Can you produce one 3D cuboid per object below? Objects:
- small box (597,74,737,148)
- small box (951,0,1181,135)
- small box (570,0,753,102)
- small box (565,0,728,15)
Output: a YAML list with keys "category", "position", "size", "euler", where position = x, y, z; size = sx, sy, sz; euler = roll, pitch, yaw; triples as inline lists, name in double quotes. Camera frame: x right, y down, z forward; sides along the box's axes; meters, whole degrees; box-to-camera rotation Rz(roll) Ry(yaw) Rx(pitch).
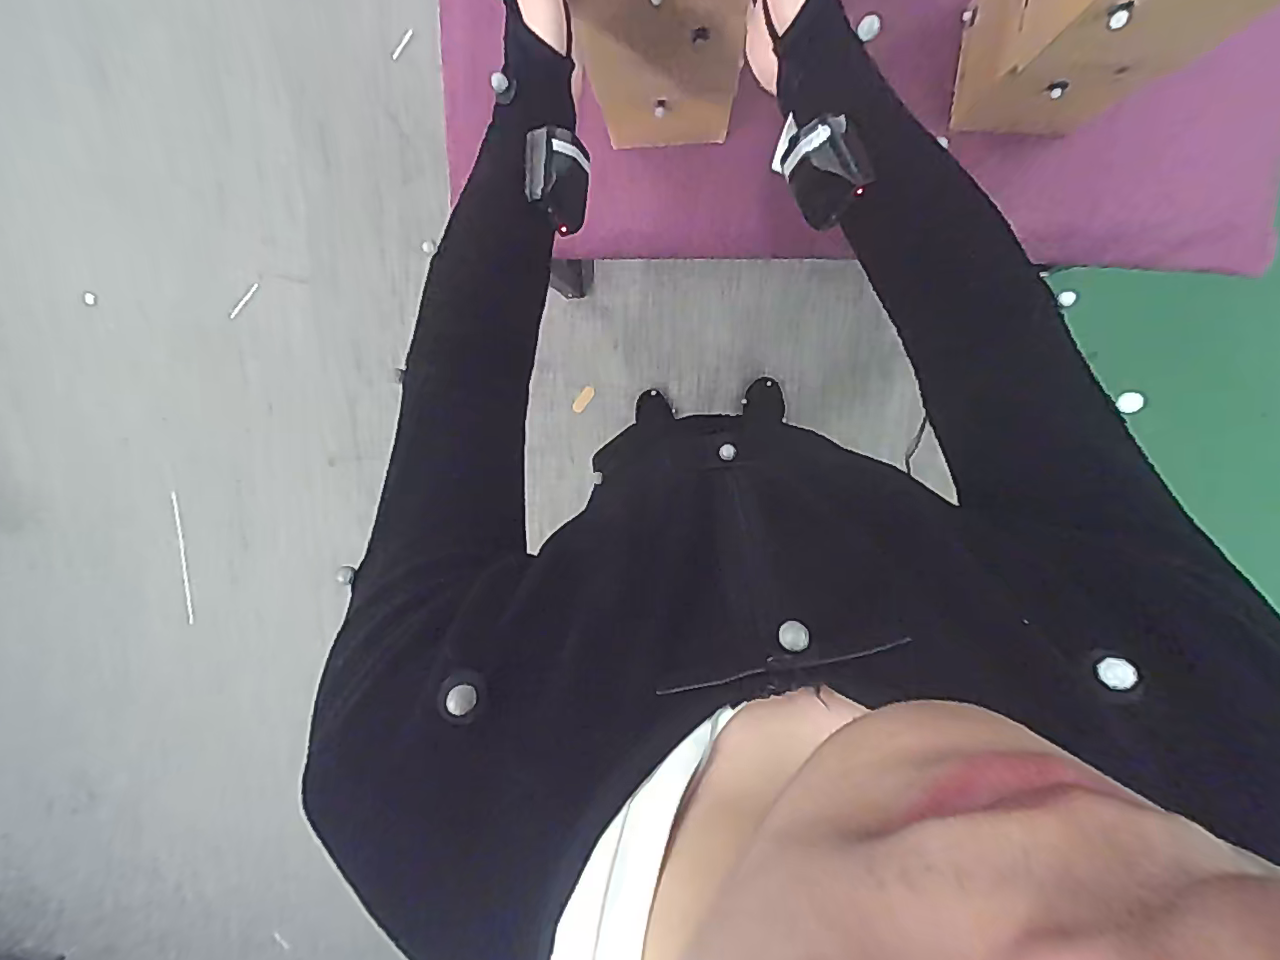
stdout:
- category: "small box"
  position: [0.037, -0.578, 0.739]
  size: [0.179, 0.176, 0.168]
  euler: [0, 100, 5]
- category: "small box"
  position: [0.534, -0.571, 0.696]
  size: [0.179, 0.176, 0.168]
  euler: [4, 100, 4]
- category: "small box"
  position: [0.026, -0.536, 0.579]
  size: [0.179, 0.176, 0.168]
  euler: [2, 100, 5]
- category: "small box"
  position: [0.011, -0.505, 0.416]
  size: [0.179, 0.176, 0.168]
  euler: [1, 98, 4]
